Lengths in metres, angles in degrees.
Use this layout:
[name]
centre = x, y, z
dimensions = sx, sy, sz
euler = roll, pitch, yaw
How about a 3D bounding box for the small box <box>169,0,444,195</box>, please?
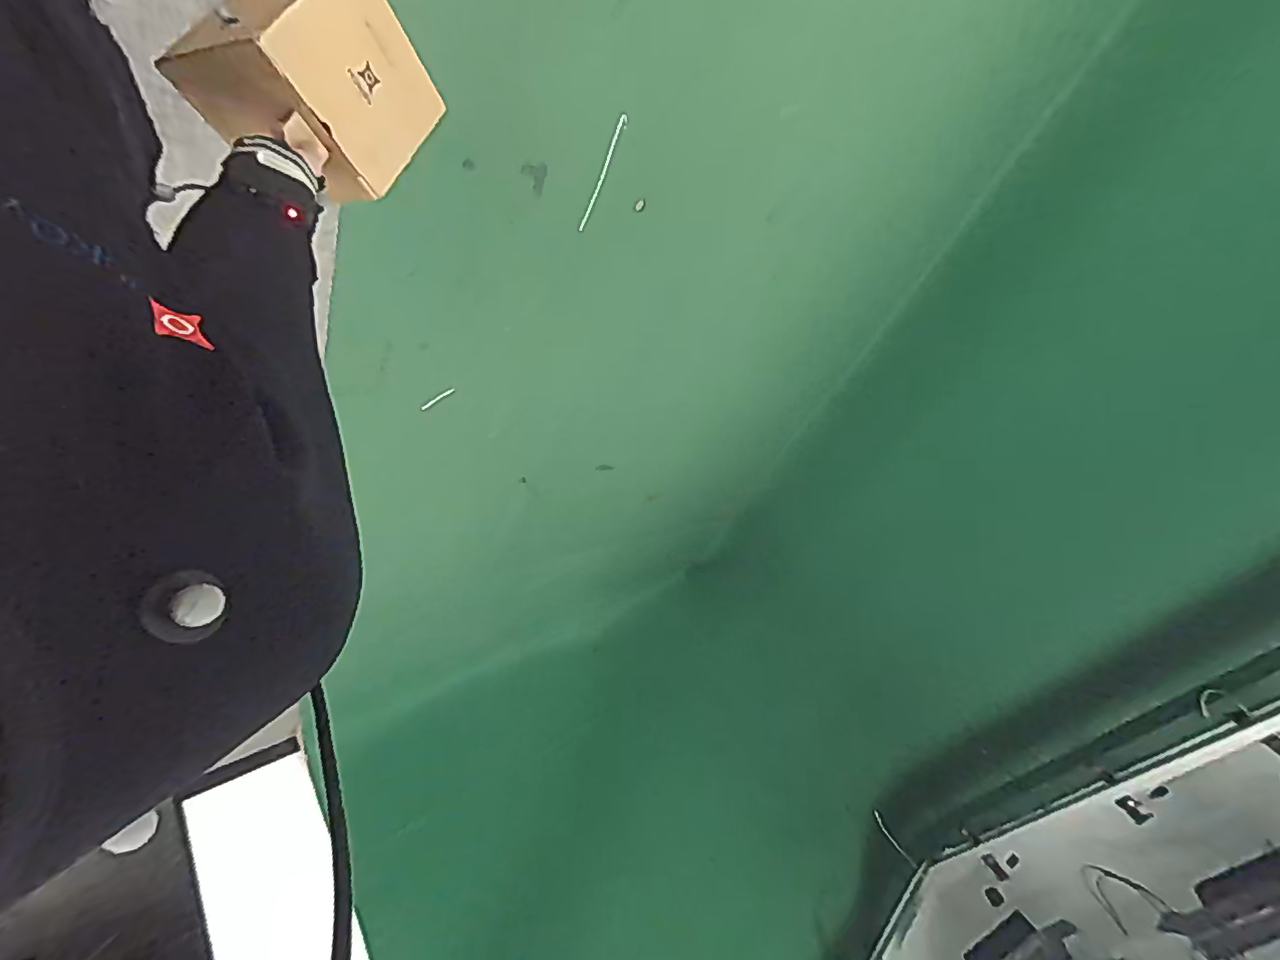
[small box]
centre = -0.364, -0.445, 0.604
dimensions = 0.168, 0.176, 0.179
euler = 60, 44, -59
